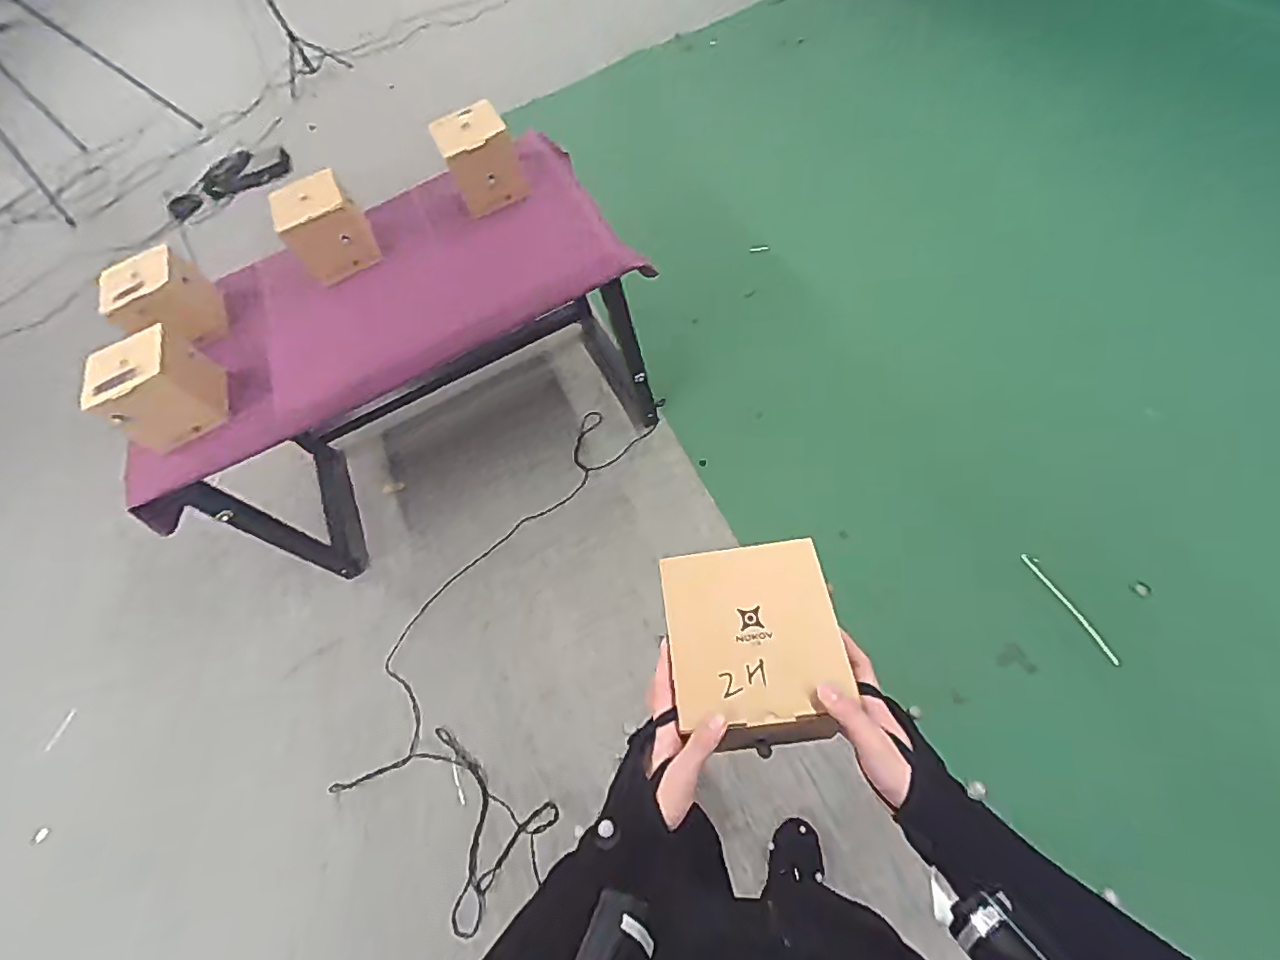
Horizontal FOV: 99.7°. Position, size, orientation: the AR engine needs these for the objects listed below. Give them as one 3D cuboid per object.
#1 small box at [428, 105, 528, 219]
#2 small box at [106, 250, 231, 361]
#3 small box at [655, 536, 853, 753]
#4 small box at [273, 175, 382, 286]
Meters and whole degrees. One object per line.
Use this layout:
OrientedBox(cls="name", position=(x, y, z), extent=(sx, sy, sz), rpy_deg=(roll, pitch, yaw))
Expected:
OrientedBox(cls="small box", position=(-0.405, -0.799, 1.375), extent=(0.168, 0.176, 0.179), rpy_deg=(-27, 61, -3))
OrientedBox(cls="small box", position=(-1.152, -0.418, 1.332), extent=(0.168, 0.176, 0.179), rpy_deg=(-29, 60, -4))
OrientedBox(cls="small box", position=(0.112, 0.186, 0.595), extent=(0.168, 0.176, 0.179), rpy_deg=(-9, 56, 4))
OrientedBox(cls="small box", position=(-0.779, -0.617, 1.361), extent=(0.168, 0.176, 0.179), rpy_deg=(-28, 61, -4))
